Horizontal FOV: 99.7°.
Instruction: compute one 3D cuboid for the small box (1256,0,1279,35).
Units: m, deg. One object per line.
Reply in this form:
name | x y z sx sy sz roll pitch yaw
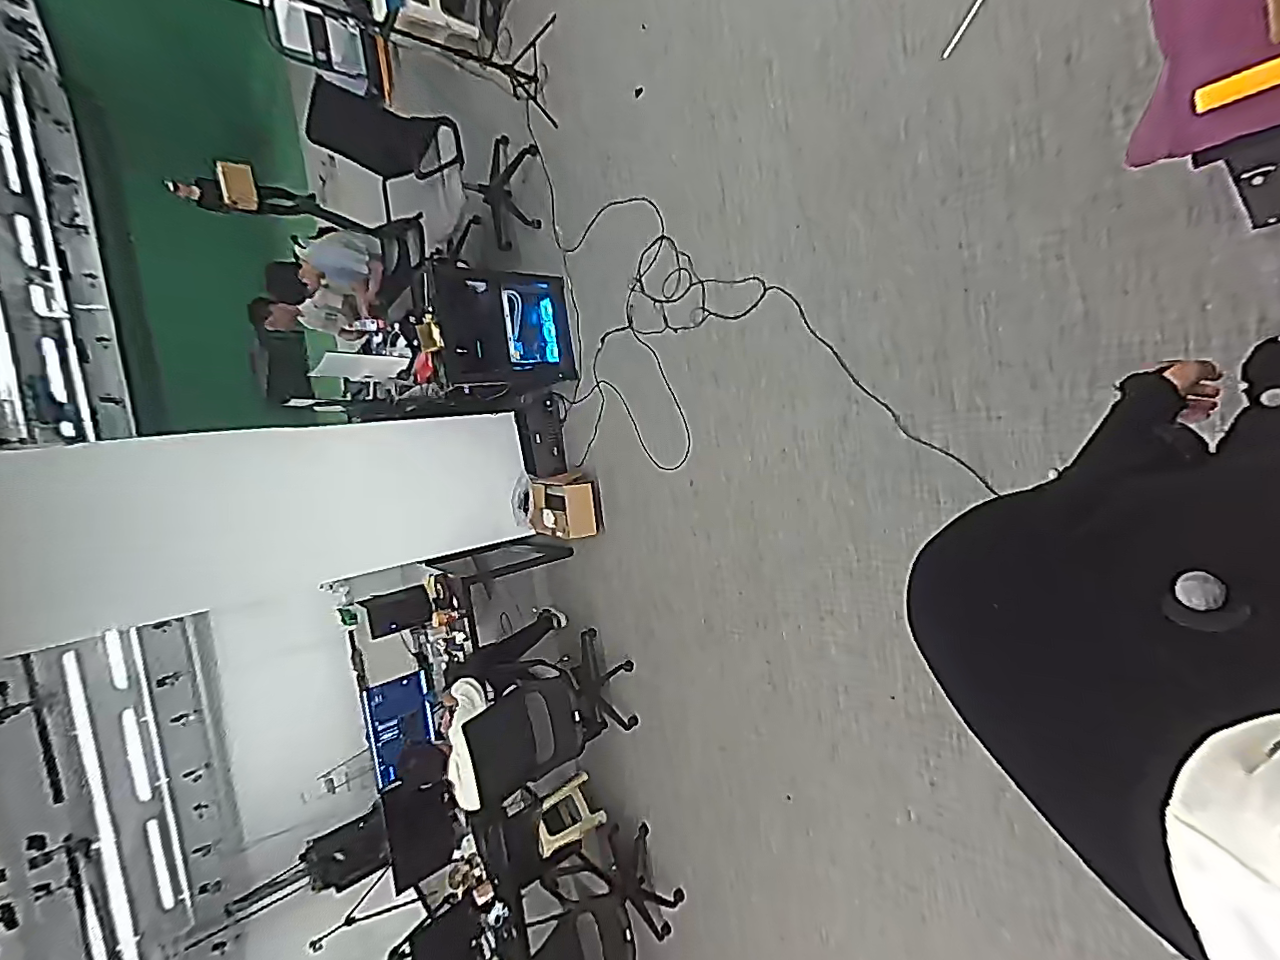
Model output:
small box | 0.650 -0.538 0.454 0.179 0.176 0.168 -3 96 50
